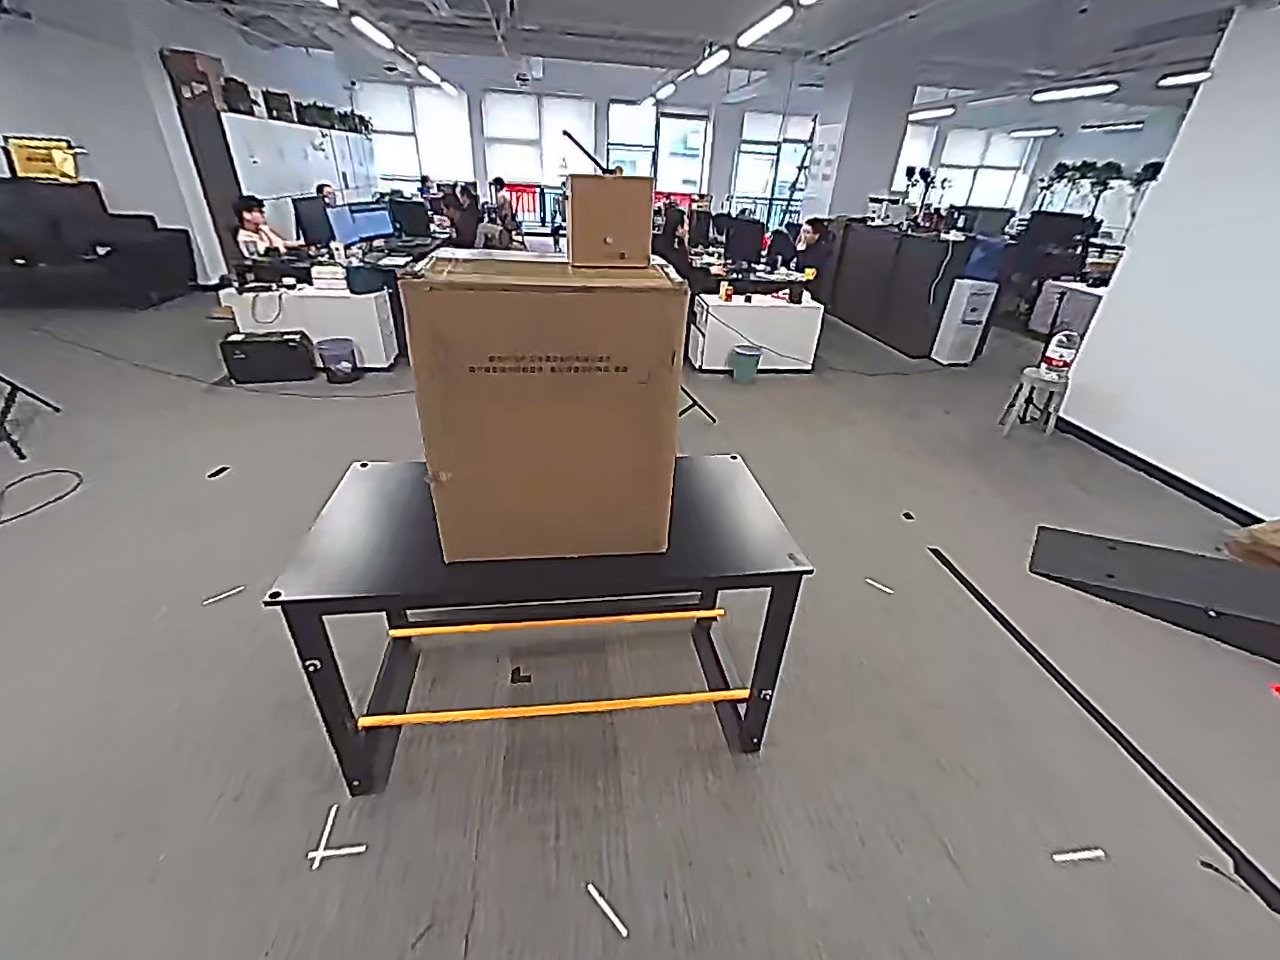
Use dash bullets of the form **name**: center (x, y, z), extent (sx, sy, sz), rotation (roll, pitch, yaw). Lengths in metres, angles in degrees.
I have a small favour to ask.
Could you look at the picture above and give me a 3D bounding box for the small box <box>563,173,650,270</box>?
- **small box**: center (-0.076, -0.549, 1.148), extent (0.168, 0.176, 0.179), rotation (-4, 29, -9)
